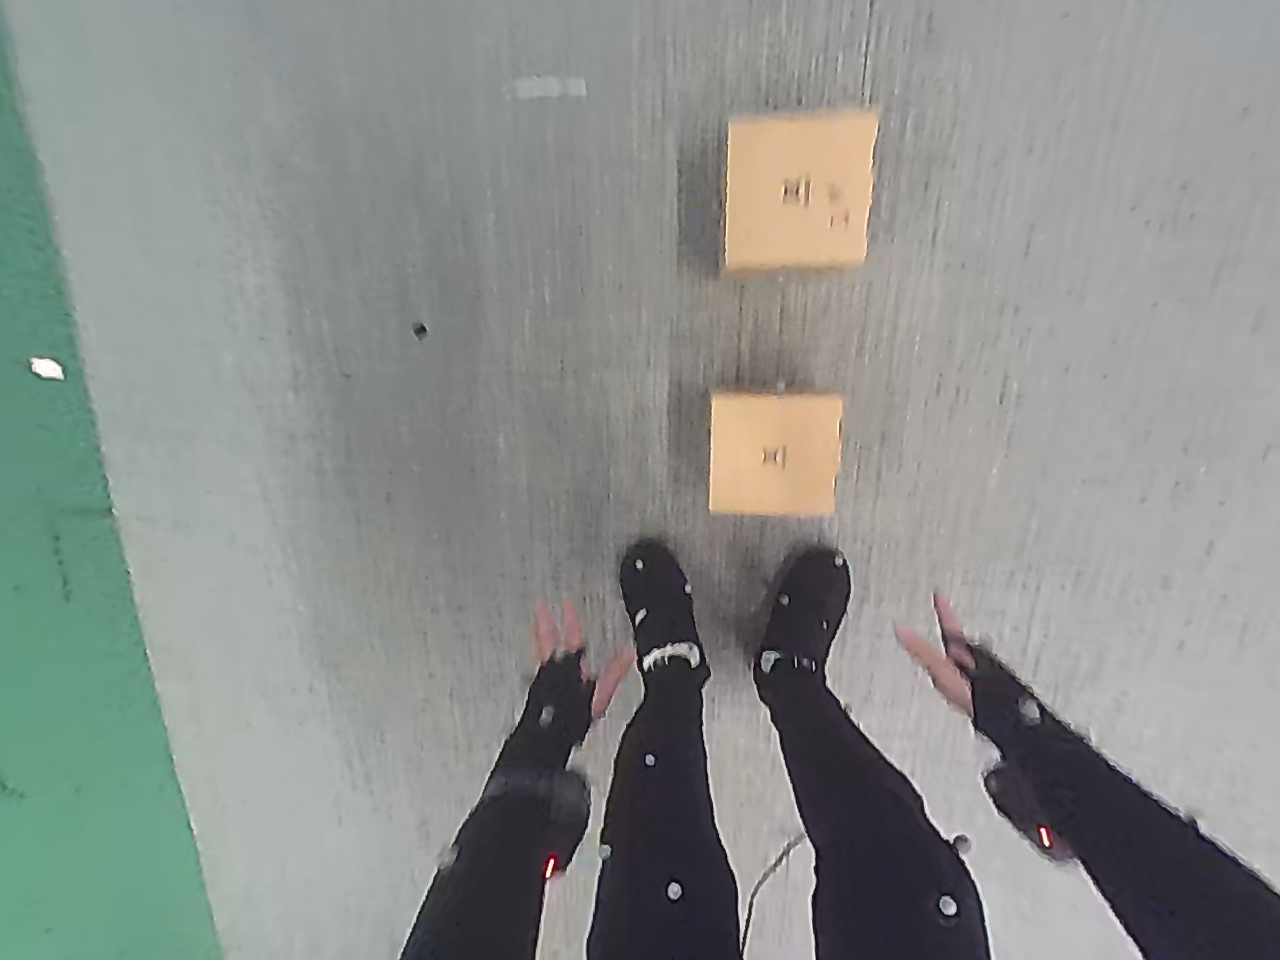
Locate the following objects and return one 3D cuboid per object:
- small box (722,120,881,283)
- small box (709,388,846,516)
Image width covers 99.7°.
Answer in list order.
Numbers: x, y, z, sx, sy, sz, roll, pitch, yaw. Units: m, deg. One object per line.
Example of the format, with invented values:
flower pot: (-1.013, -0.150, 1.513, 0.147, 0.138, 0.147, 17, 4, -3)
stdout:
small box: (0.205, -0.364, 0.736, 0.179, 0.176, 0.168, 2, 104, 5)
small box: (0.195, -0.049, 0.816, 0.179, 0.176, 0.168, 1, 103, 5)
